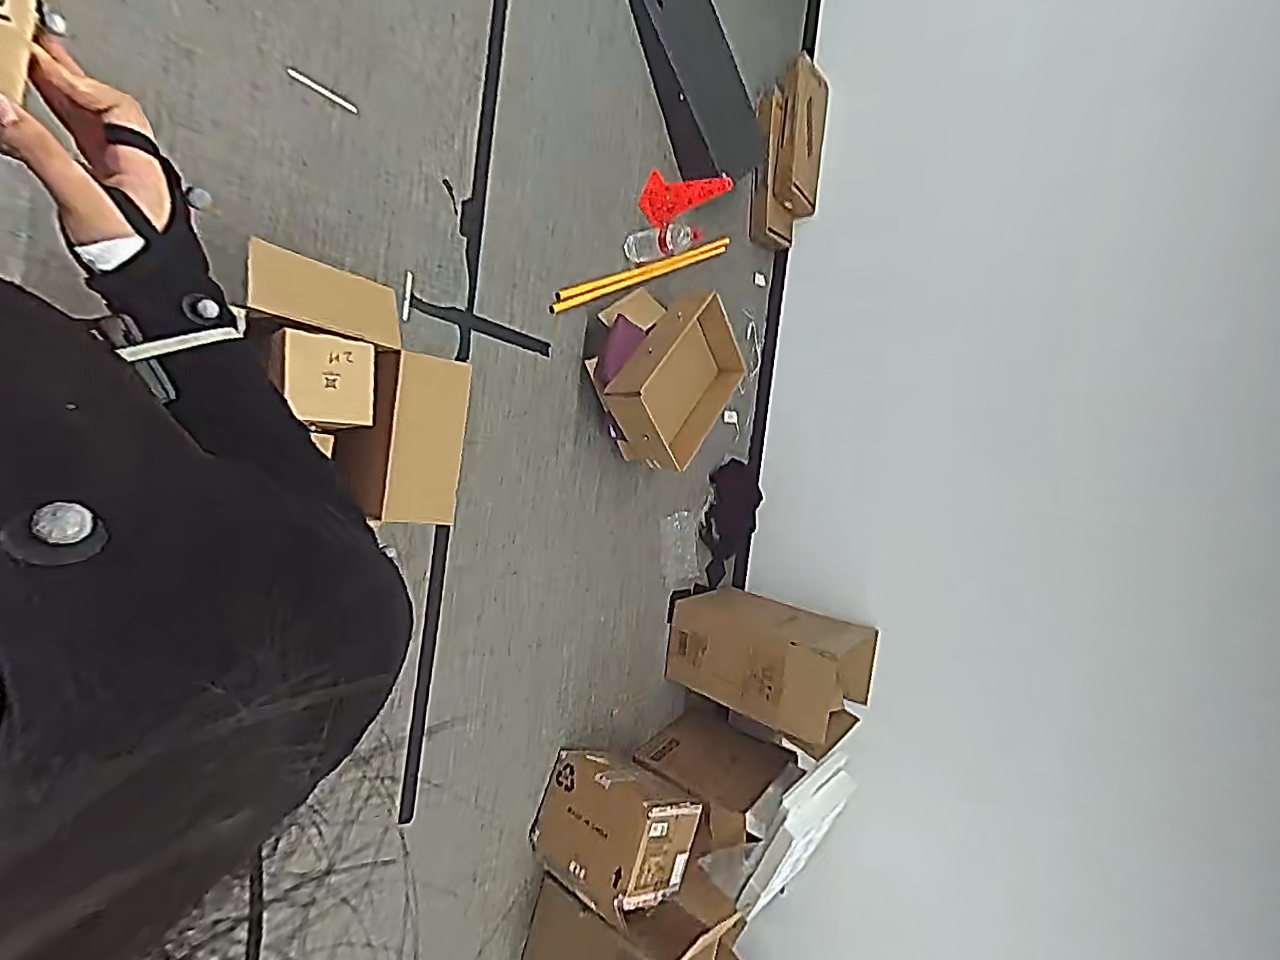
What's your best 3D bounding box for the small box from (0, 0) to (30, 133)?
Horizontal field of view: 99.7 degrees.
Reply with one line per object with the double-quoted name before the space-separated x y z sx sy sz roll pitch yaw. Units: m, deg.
"small box" -0.445 -0.307 0.276 0.179 0.176 0.168 8 99 -52
